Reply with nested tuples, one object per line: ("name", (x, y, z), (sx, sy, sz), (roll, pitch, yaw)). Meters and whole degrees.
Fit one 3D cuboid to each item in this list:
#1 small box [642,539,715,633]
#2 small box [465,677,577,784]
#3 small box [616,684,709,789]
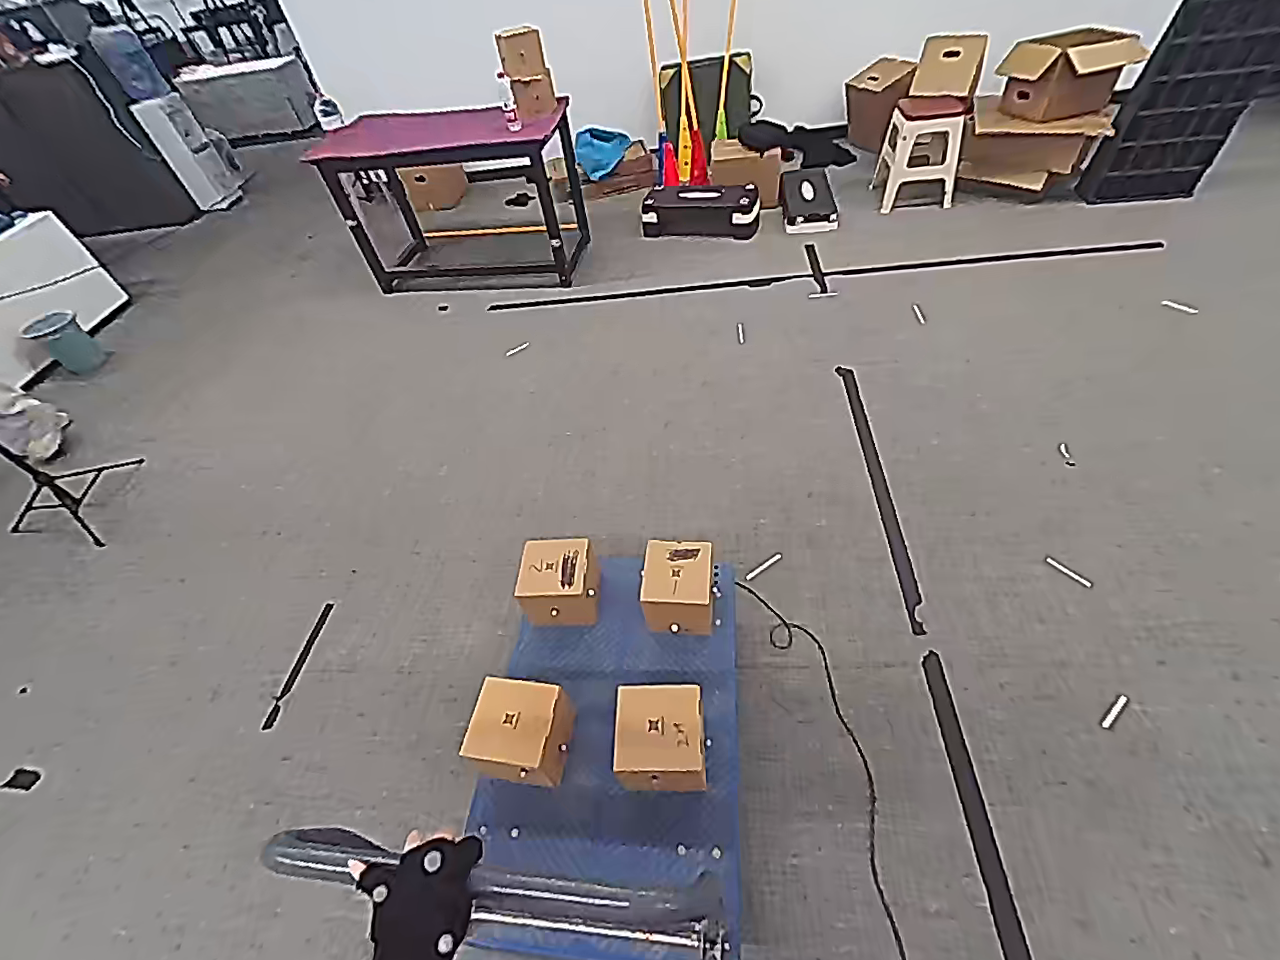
("small box", (0.106, 0.271, 1.381), (0.168, 0.176, 0.179), (0, 50, 10))
("small box", (-0.253, 0.554, 1.194), (0.179, 0.176, 0.168), (3, 49, 10))
("small box", (0.053, 0.546, 1.148), (0.179, 0.176, 0.168), (-4, 49, 7))
